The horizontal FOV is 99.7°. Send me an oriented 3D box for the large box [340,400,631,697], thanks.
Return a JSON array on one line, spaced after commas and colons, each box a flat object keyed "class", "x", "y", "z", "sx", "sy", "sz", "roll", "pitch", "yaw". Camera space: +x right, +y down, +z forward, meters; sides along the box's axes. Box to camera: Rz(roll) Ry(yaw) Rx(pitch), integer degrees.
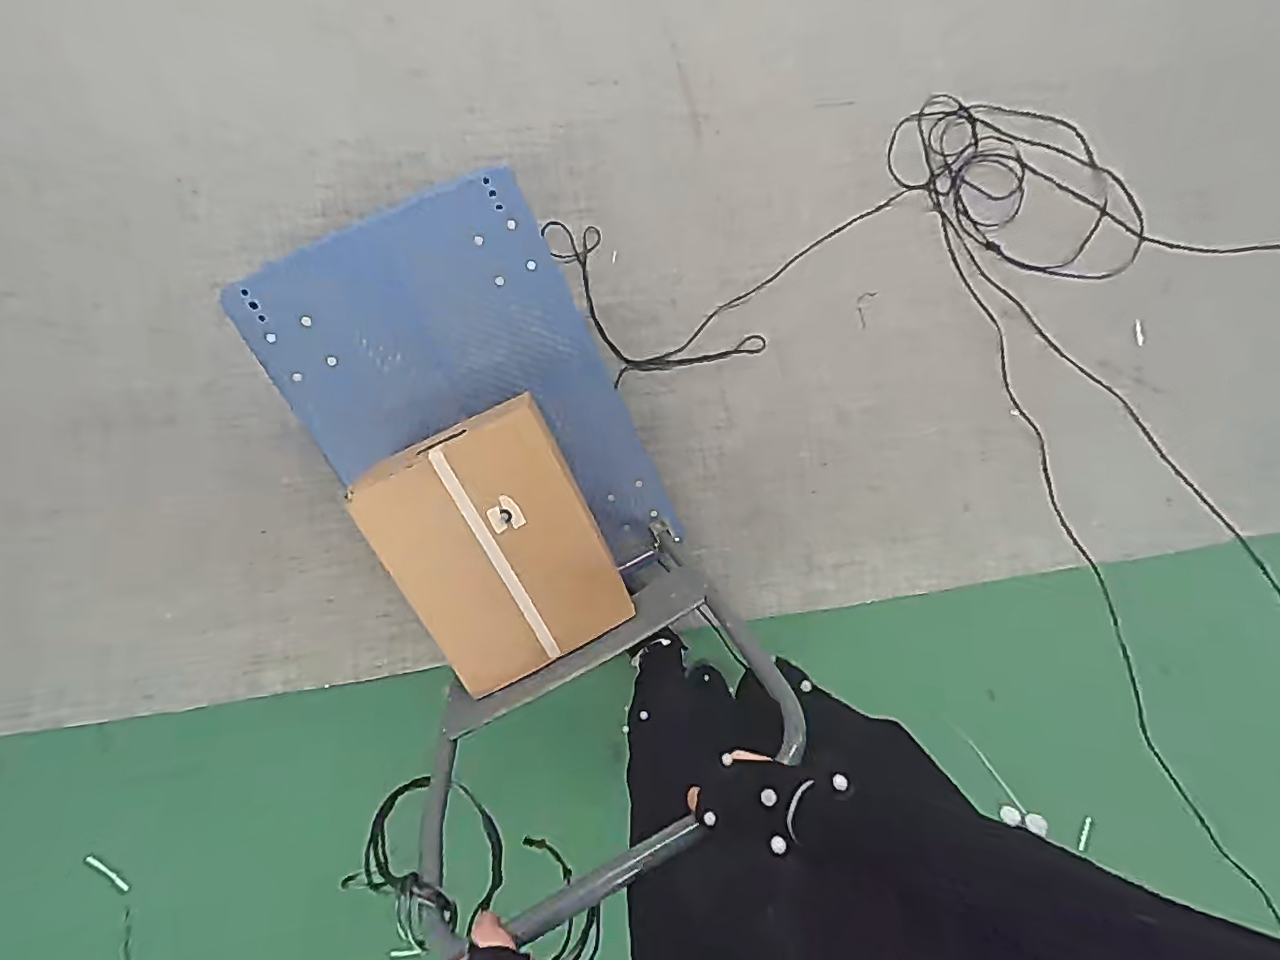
[{"class": "large box", "x": -0.257, "y": 0.102, "z": 1.012, "sx": 0.320, "sy": 0.320, "sz": 0.408, "roll": -27, "pitch": 106, "yaw": -5}]
